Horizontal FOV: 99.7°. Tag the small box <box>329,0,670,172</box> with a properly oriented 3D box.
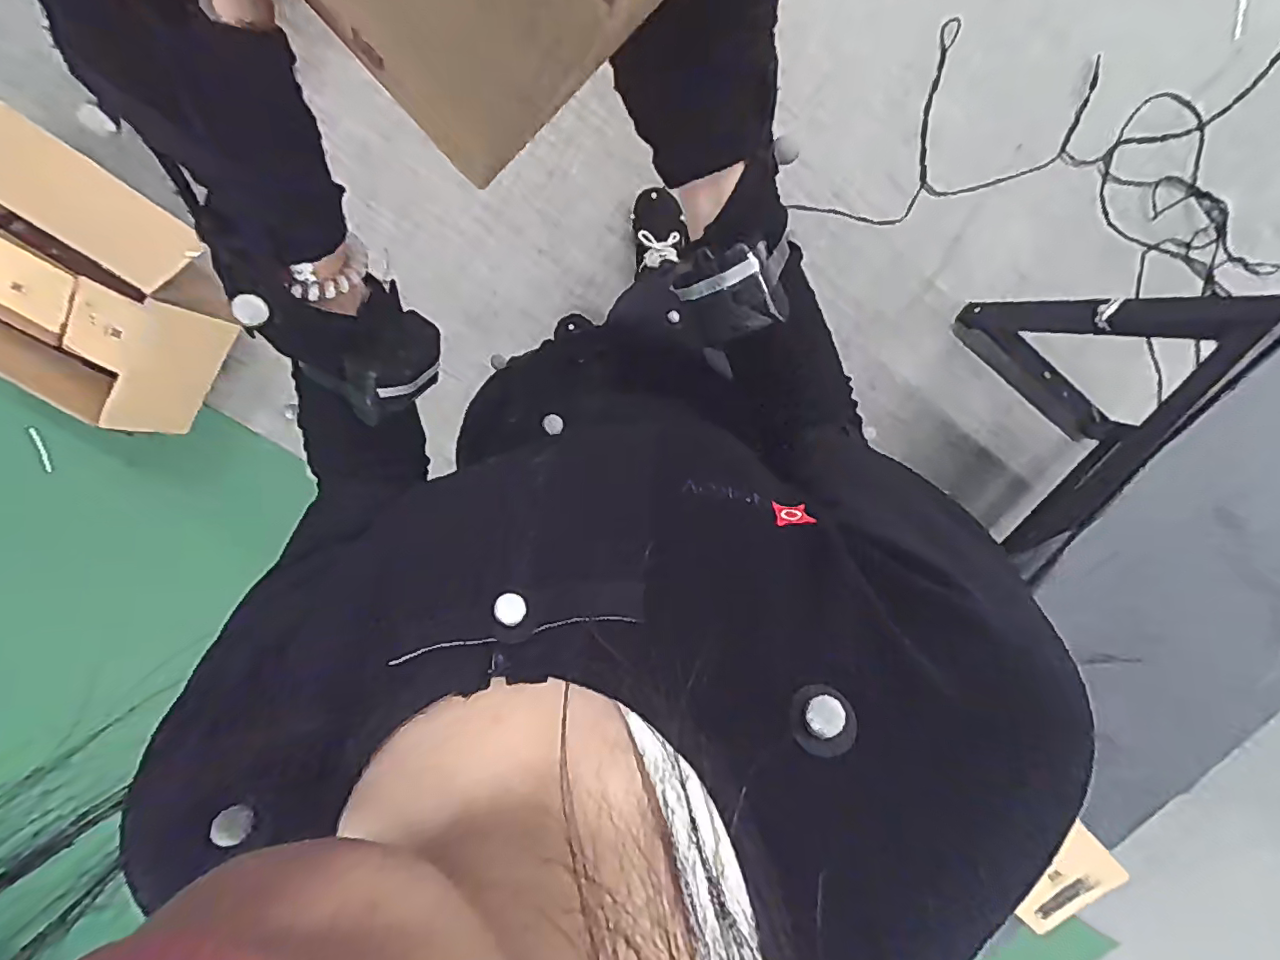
[{"bbox_3d":[-0.040,-0.237,0.167,0.168,0.176,0.179,43,82,-29],"label":"small box"}]
